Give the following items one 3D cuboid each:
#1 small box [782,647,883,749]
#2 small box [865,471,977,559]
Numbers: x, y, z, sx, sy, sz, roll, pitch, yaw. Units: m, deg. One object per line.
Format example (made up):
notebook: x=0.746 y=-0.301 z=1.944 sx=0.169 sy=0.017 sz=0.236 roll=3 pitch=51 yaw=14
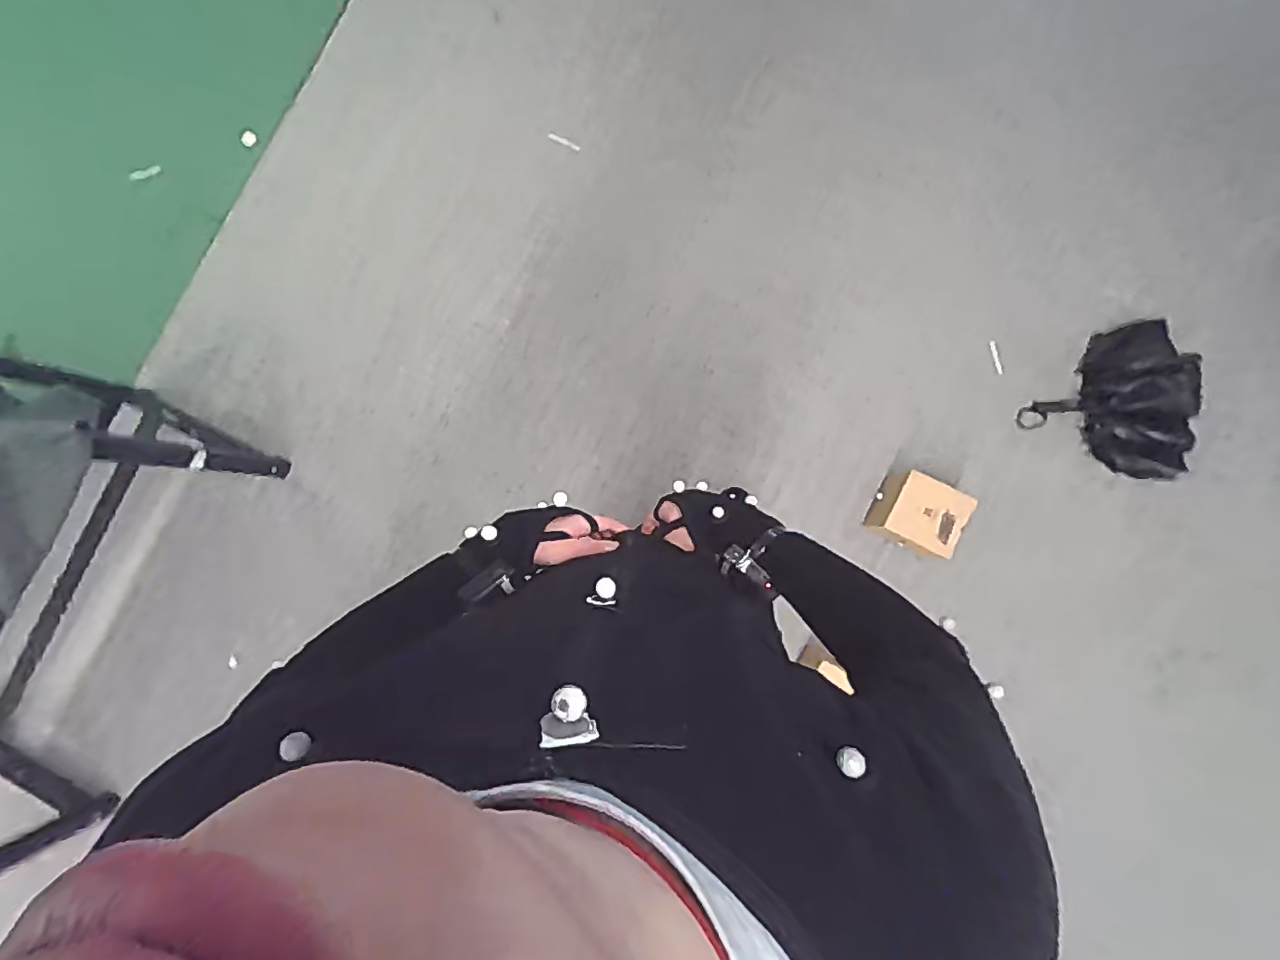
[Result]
small box: x=0.493 y=0.558 z=1.417 sx=0.179 sy=0.176 sz=0.168 roll=31 pitch=89 yaw=7
small box: x=0.730 y=0.091 z=1.425 sx=0.179 sy=0.176 sz=0.168 roll=28 pitch=89 yaw=8
